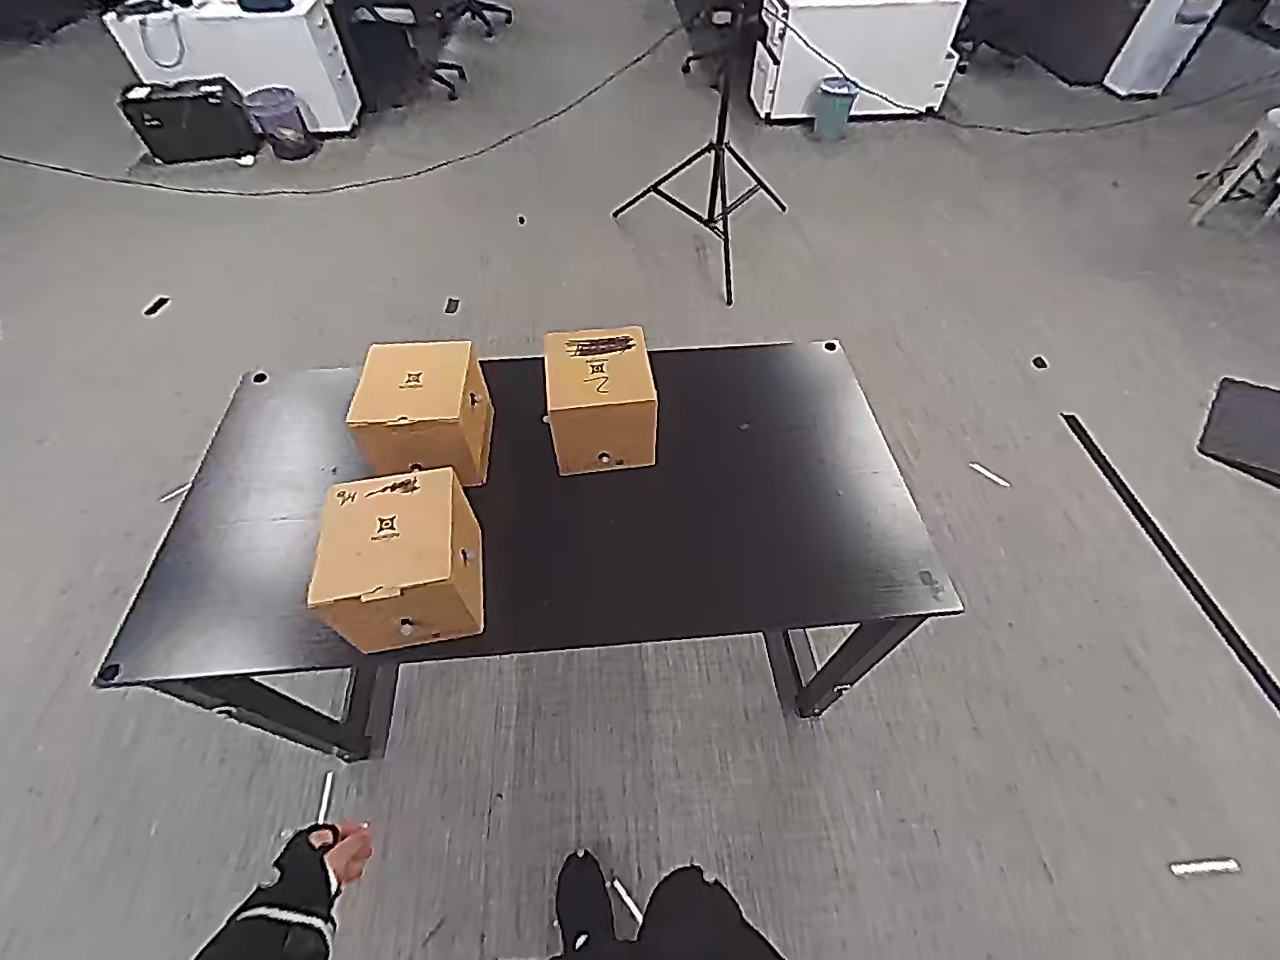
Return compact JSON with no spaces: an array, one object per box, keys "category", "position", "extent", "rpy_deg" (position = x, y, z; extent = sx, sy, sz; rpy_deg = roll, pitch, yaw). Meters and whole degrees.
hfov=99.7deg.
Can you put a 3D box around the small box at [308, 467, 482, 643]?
[{"category":"small box","position":[-0.319,0.110,0.744],"extent":[0.168,0.176,0.179],"rpy_deg":[-9,55,-7]}]

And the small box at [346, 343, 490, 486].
[{"category":"small box","position":[-0.353,-0.106,0.903],"extent":[0.168,0.176,0.179],"rpy_deg":[-3,54,-2]}]
